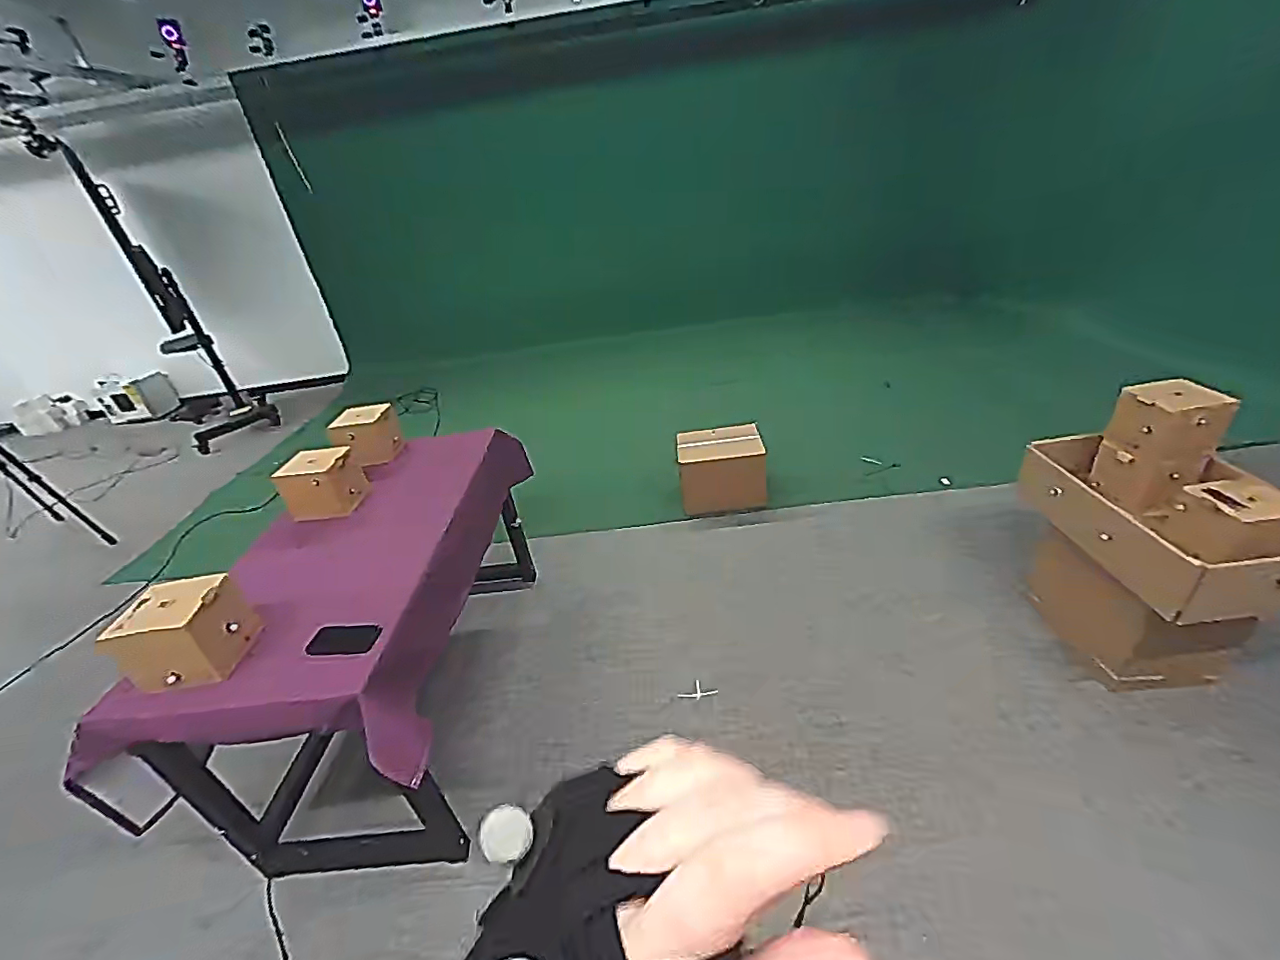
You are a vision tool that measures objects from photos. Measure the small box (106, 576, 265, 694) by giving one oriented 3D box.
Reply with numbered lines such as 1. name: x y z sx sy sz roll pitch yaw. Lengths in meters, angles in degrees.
1. small box: -0.972 0.338 1.180 0.179 0.176 0.168 -9 30 -1

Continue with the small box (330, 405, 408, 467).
1. small box: -0.996 -0.159 2.002 0.179 0.176 0.168 -7 32 4

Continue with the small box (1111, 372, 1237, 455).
1. small box: 1.471 -0.183 1.508 0.179 0.176 0.168 -9 32 0

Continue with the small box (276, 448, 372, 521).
1. small box: -0.996 0.017 1.721 0.179 0.176 0.168 -6 31 5
